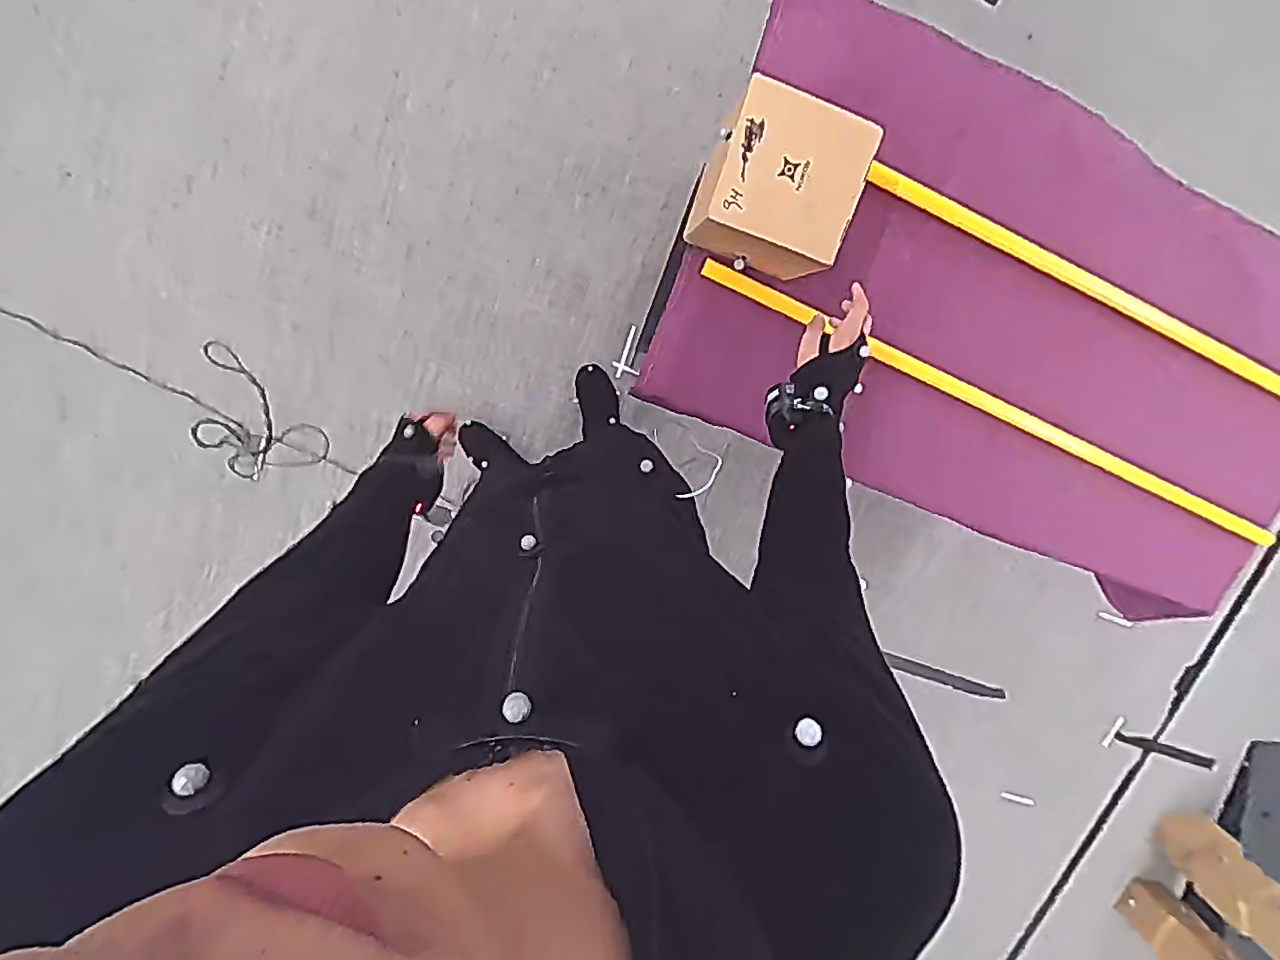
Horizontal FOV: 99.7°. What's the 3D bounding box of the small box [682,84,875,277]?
[{"bbox_3d":[0.176,-0.391,0.745,0.179,0.176,0.168,17,103,-11],"label":"small box"}]
